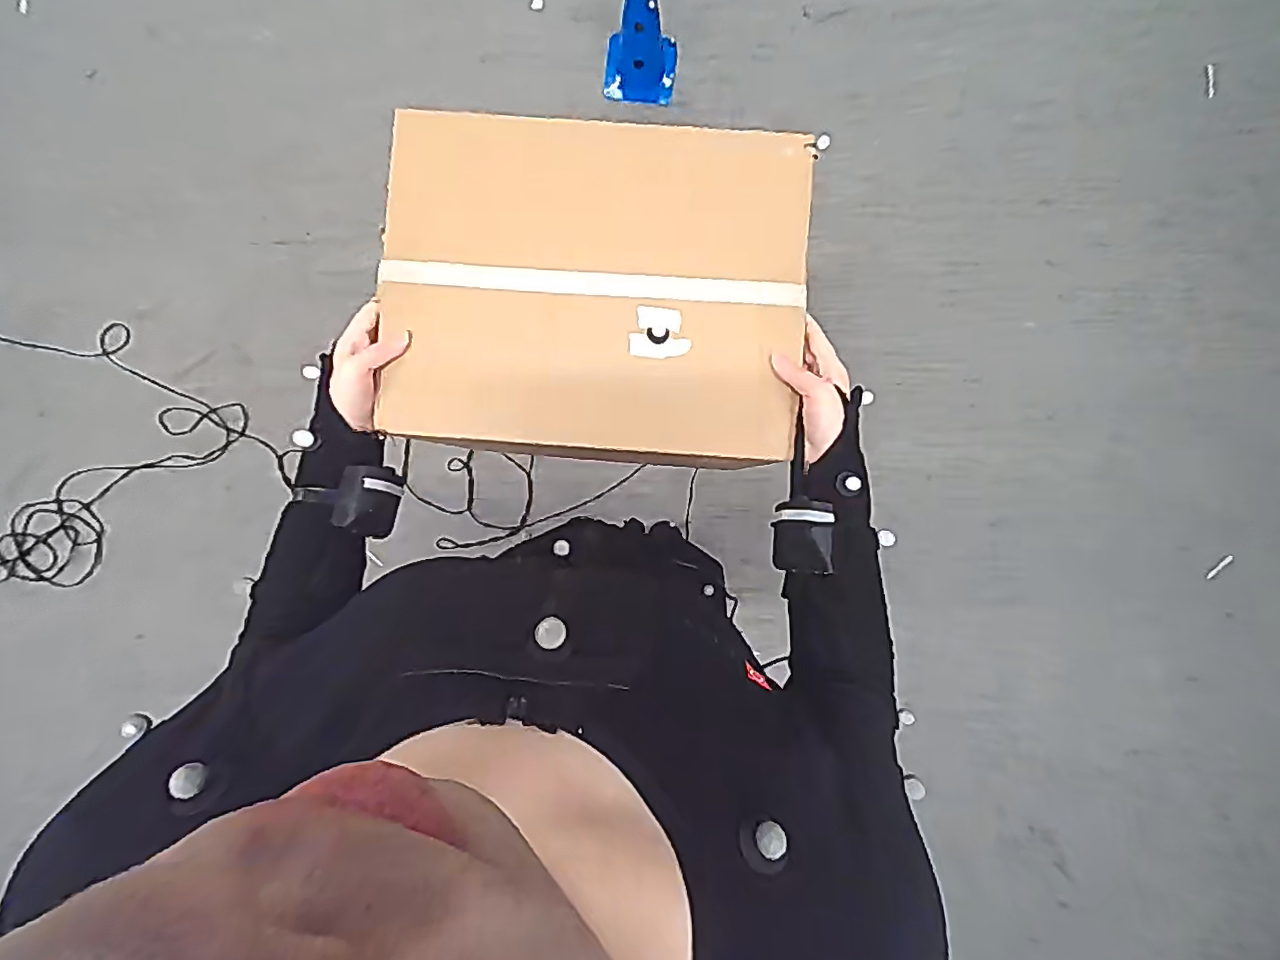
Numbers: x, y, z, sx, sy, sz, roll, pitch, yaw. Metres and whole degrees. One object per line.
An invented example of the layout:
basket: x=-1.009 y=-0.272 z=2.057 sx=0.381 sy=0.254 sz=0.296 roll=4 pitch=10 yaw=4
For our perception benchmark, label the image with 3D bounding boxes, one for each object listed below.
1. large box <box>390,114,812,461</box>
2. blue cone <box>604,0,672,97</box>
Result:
large box: x=-0.040 y=-0.192 z=0.673 sx=0.408 sy=0.320 sz=0.320 roll=4 pitch=90 yaw=-1
blue cone: x=-0.004 y=-1.213 z=1.399 sx=0.193 sy=0.380 sz=0.192 roll=8 pitch=87 yaw=0
